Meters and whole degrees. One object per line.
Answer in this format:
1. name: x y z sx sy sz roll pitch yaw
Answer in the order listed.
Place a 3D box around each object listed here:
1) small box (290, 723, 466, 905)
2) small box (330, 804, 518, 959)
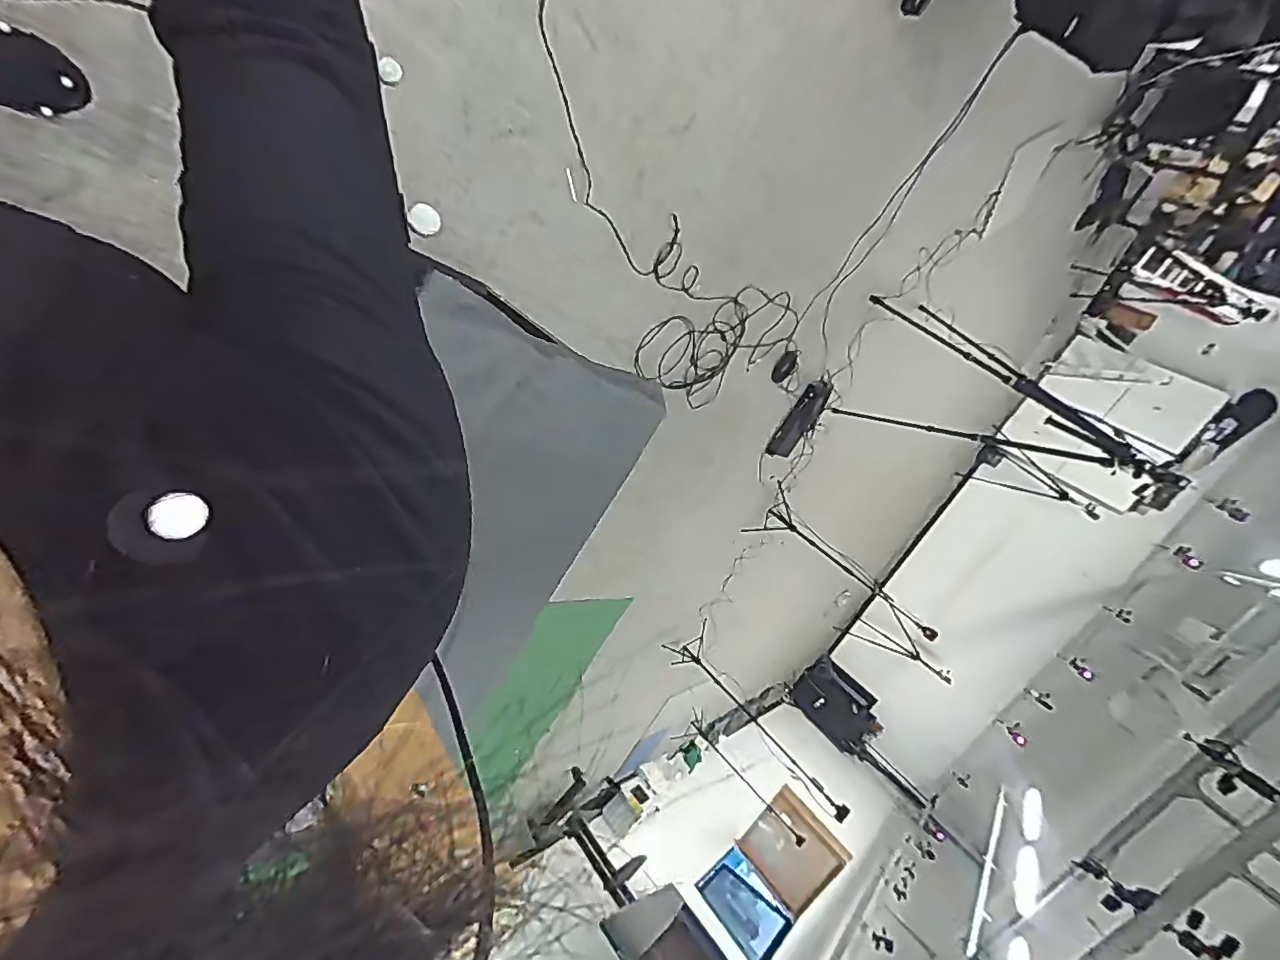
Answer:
1. small box: -0.432 0.530 0.891 0.168 0.176 0.179 -57 146 9
2. small box: -0.325 0.622 0.807 0.179 0.176 0.168 -56 148 8
